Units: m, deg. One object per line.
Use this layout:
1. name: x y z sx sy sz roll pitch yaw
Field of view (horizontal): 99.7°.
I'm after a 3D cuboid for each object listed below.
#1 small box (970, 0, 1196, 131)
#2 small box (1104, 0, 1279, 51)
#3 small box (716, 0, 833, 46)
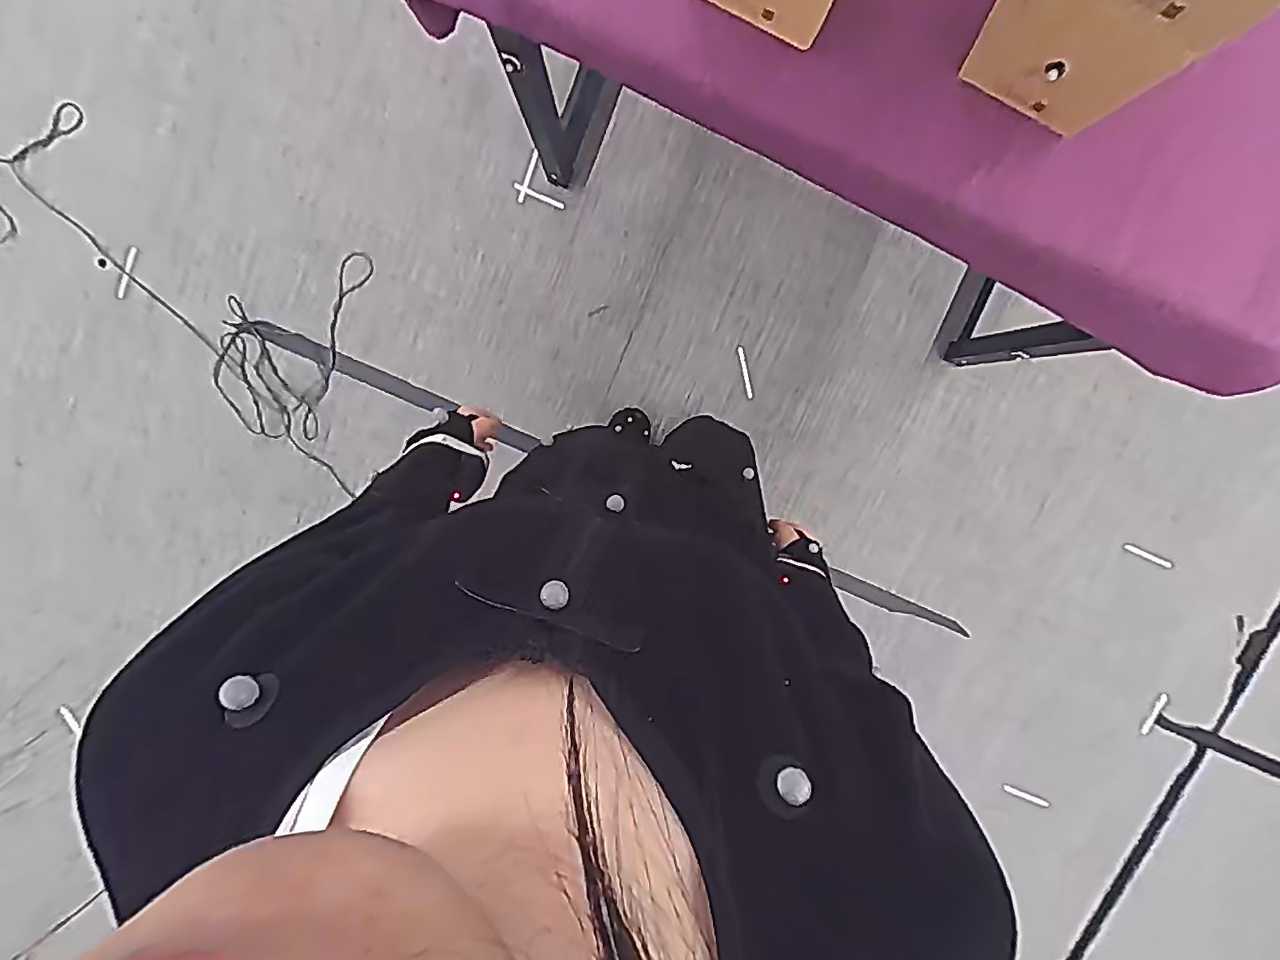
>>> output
1. small box: 0.513 -0.539 0.601 0.168 0.176 0.179 26 97 -5
2. small box: 0.520 -0.517 0.438 0.168 0.176 0.179 26 97 -4
3. small box: 0.170 -0.632 0.584 0.168 0.176 0.179 24 96 -4
